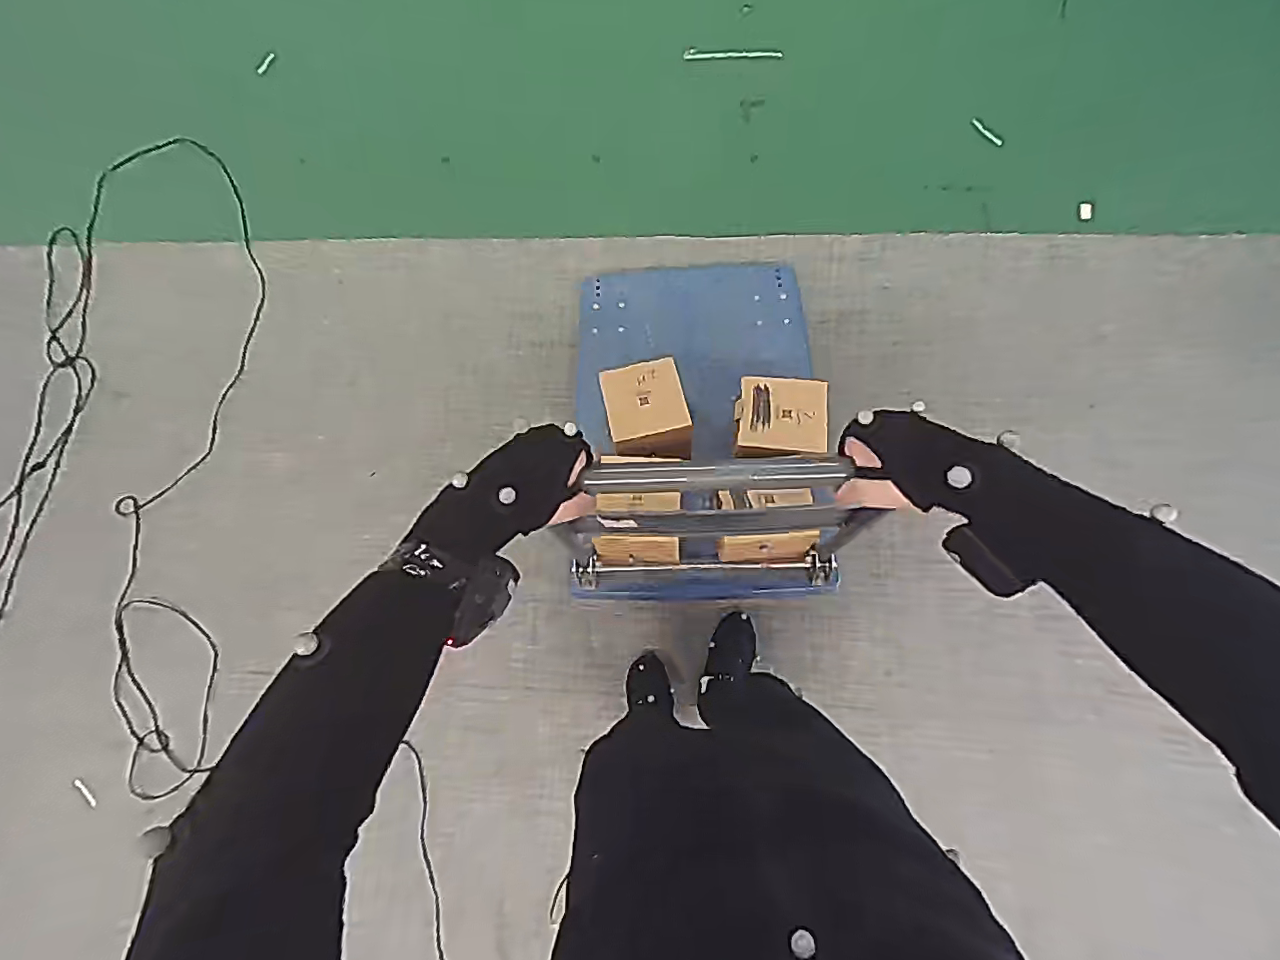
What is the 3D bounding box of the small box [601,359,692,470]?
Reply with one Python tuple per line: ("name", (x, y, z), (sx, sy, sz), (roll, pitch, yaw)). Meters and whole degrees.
("small box", (0.016, -0.134, 1.192), (0.168, 0.176, 0.179), (-12, 67, -2))
